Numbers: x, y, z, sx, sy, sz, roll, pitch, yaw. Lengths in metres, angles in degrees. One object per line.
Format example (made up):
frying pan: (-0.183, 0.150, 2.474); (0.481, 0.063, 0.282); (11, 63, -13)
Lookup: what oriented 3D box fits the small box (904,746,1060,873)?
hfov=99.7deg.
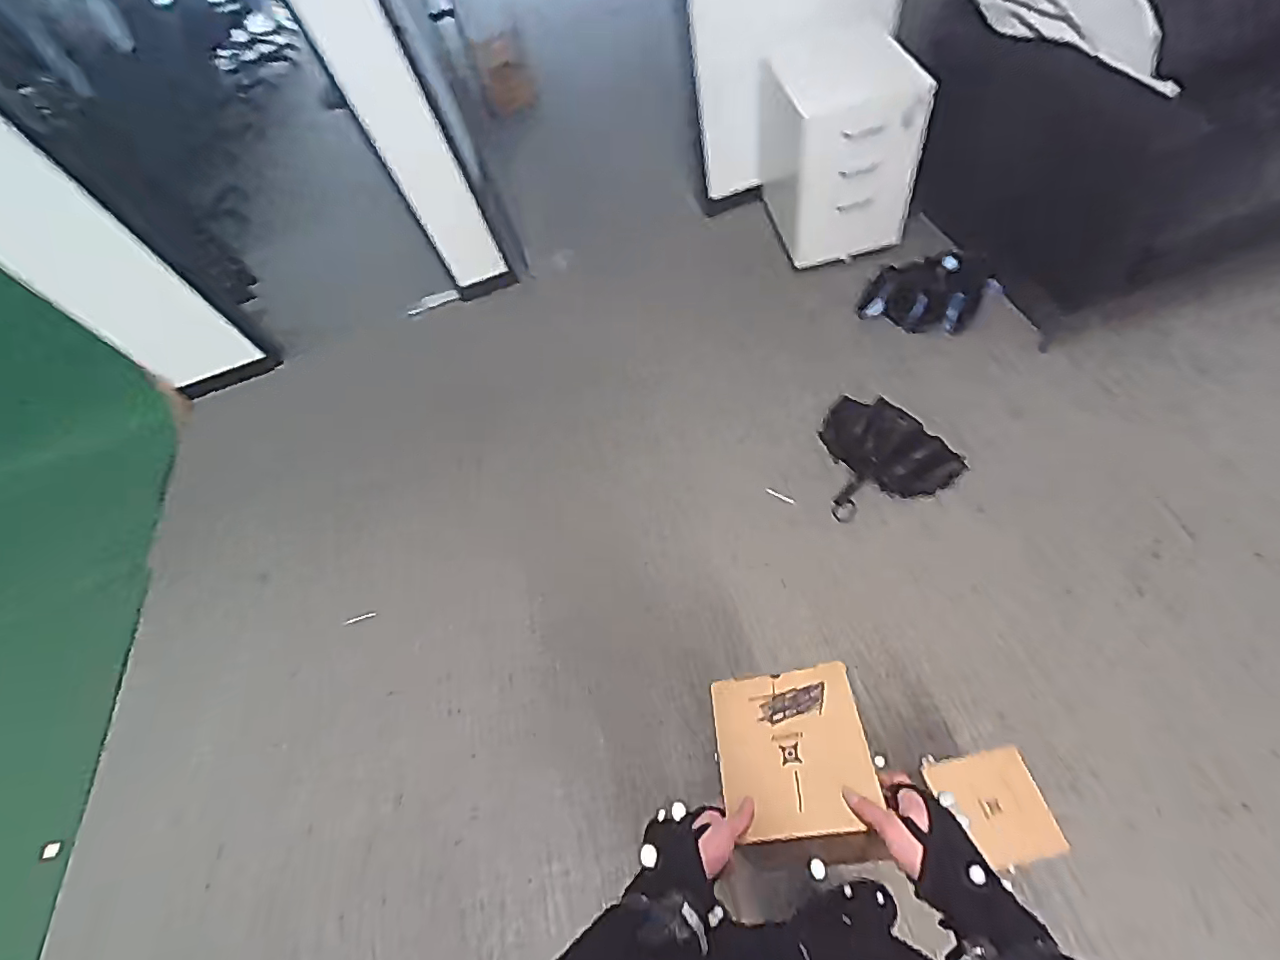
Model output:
small box: (0.626, 0.622, 1.024); (0.179, 0.176, 0.168); (-16, 57, 2)

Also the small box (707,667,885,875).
small box: (0.190, 0.361, 0.668); (0.168, 0.176, 0.179); (-16, 43, 12)

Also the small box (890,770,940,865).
small box: (0.659, 0.706, 1.159); (0.179, 0.176, 0.168); (-17, 56, 3)
